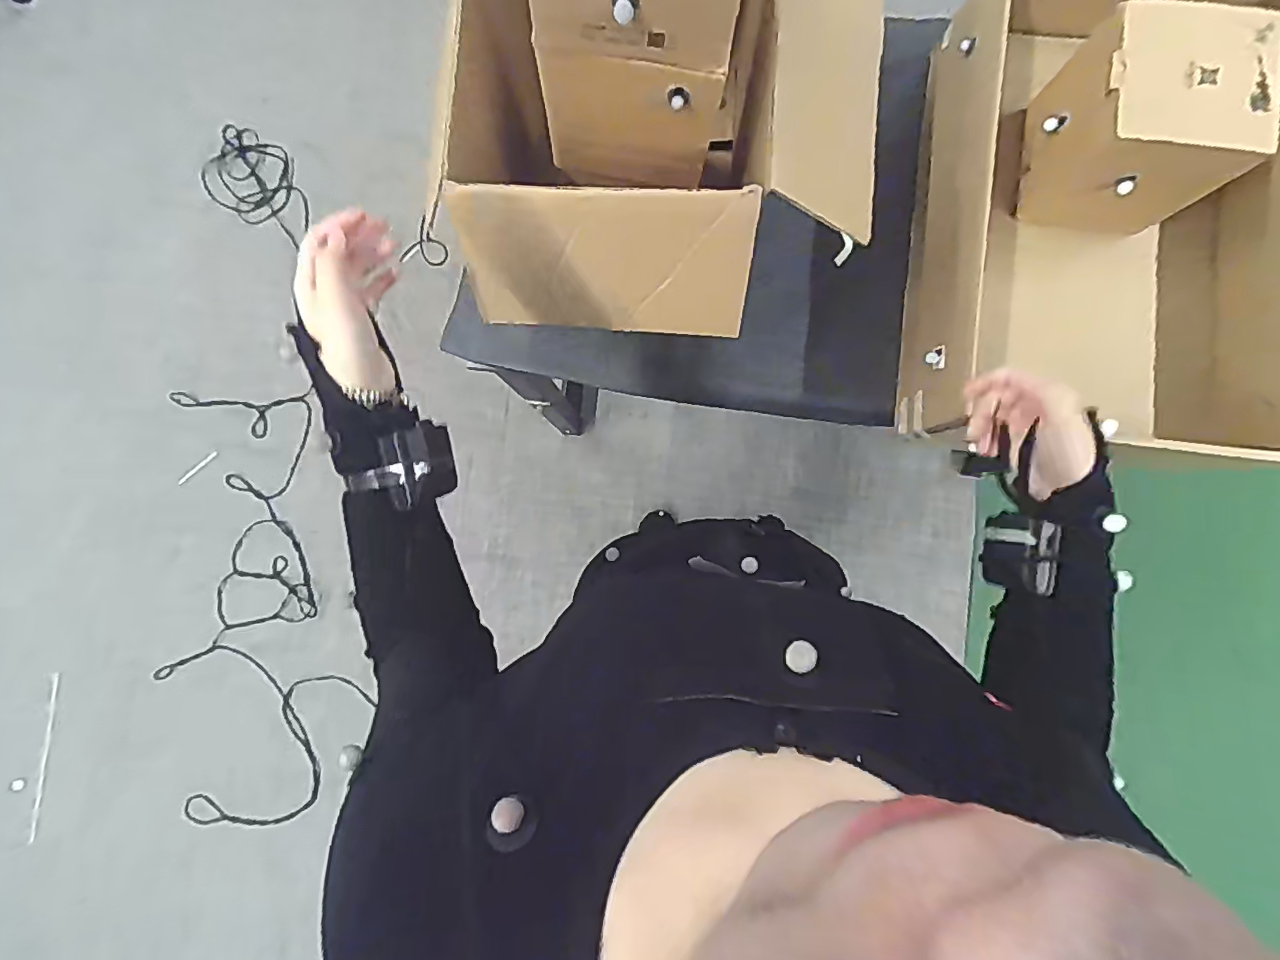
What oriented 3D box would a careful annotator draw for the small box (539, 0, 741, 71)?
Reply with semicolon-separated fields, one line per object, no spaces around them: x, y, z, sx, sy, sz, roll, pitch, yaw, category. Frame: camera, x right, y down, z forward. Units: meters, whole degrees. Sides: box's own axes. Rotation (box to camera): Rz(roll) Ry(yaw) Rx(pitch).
0.005;-0.458;0.398;0.168;0.176;0.179;5;85;-3;small box
